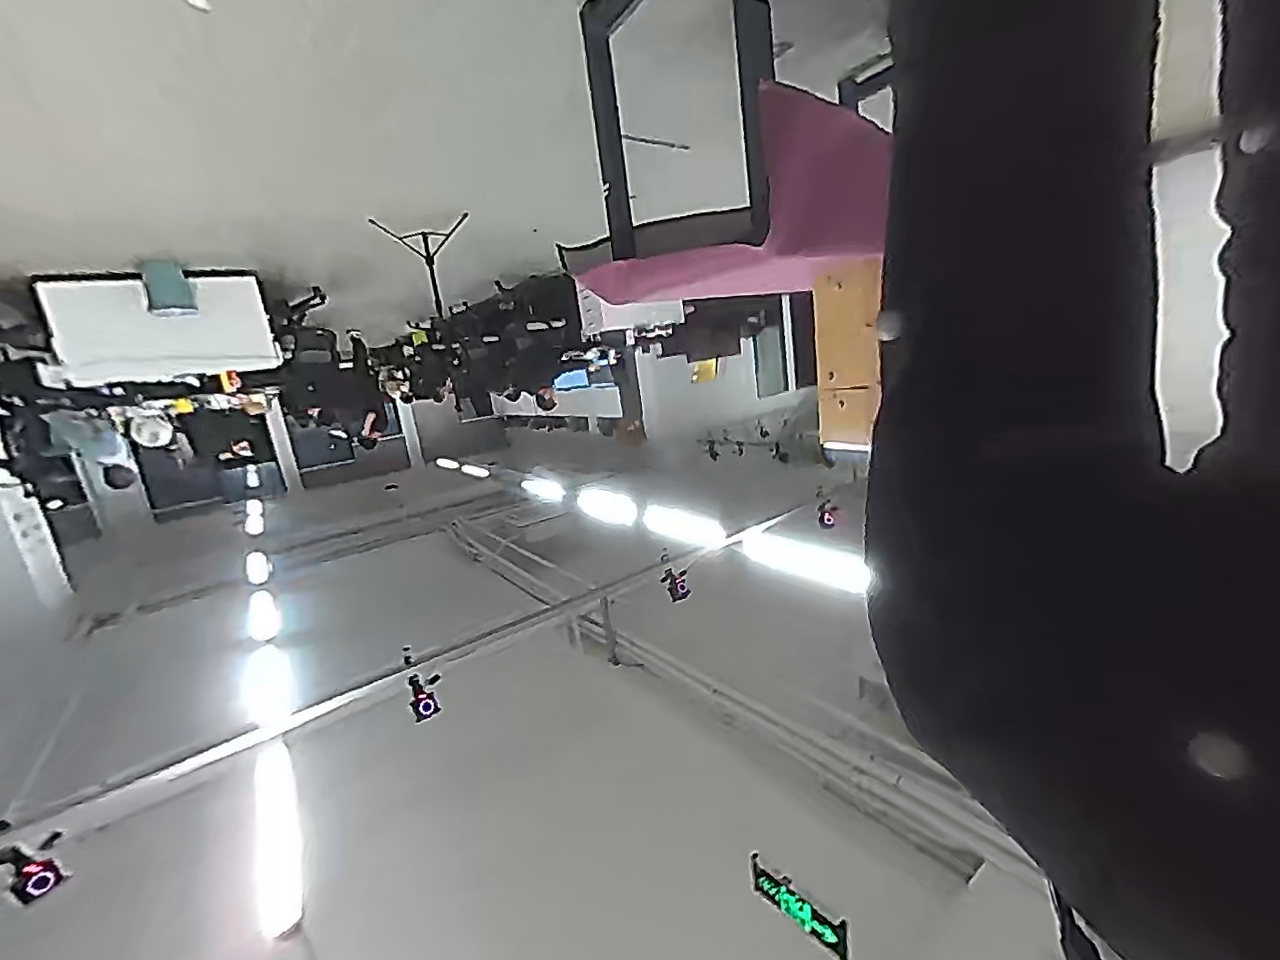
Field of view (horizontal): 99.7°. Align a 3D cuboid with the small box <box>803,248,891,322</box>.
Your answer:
[{"bbox_3d":[0.584,-0.551,1.528,0.179,0.176,0.168,-16,-165,-30],"label":"small box"}]

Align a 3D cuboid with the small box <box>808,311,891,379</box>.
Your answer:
[{"bbox_3d":[0.607,-0.394,1.571,0.168,0.176,0.179,-19,-163,-35],"label":"small box"}]
